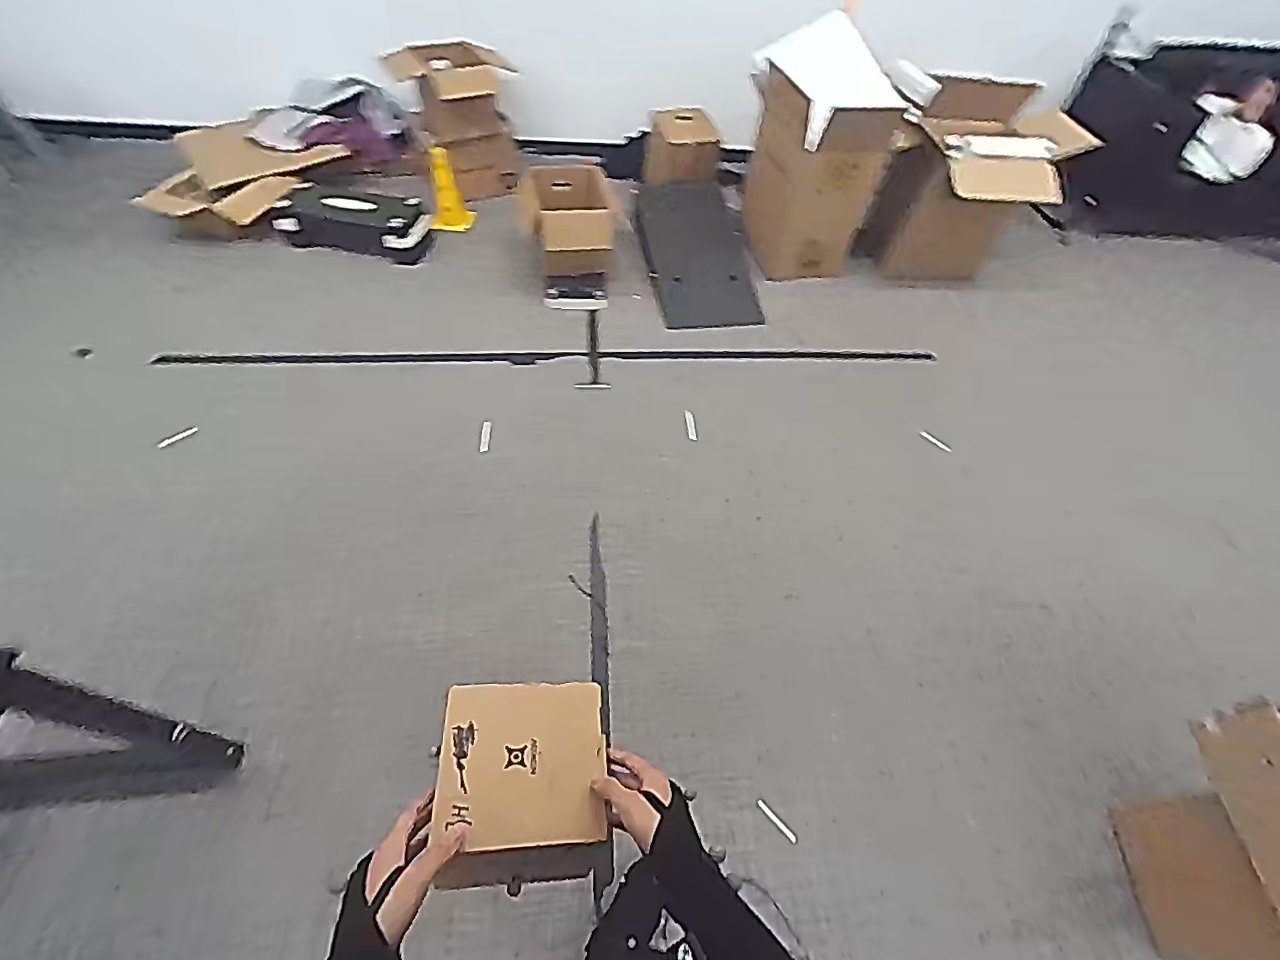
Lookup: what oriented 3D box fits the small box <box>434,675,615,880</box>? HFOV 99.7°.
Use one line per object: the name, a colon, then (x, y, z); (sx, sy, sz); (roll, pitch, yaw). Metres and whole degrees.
small box: (-0.133, 0.348, 0.632); (0.179, 0.176, 0.168); (6, 42, -12)
